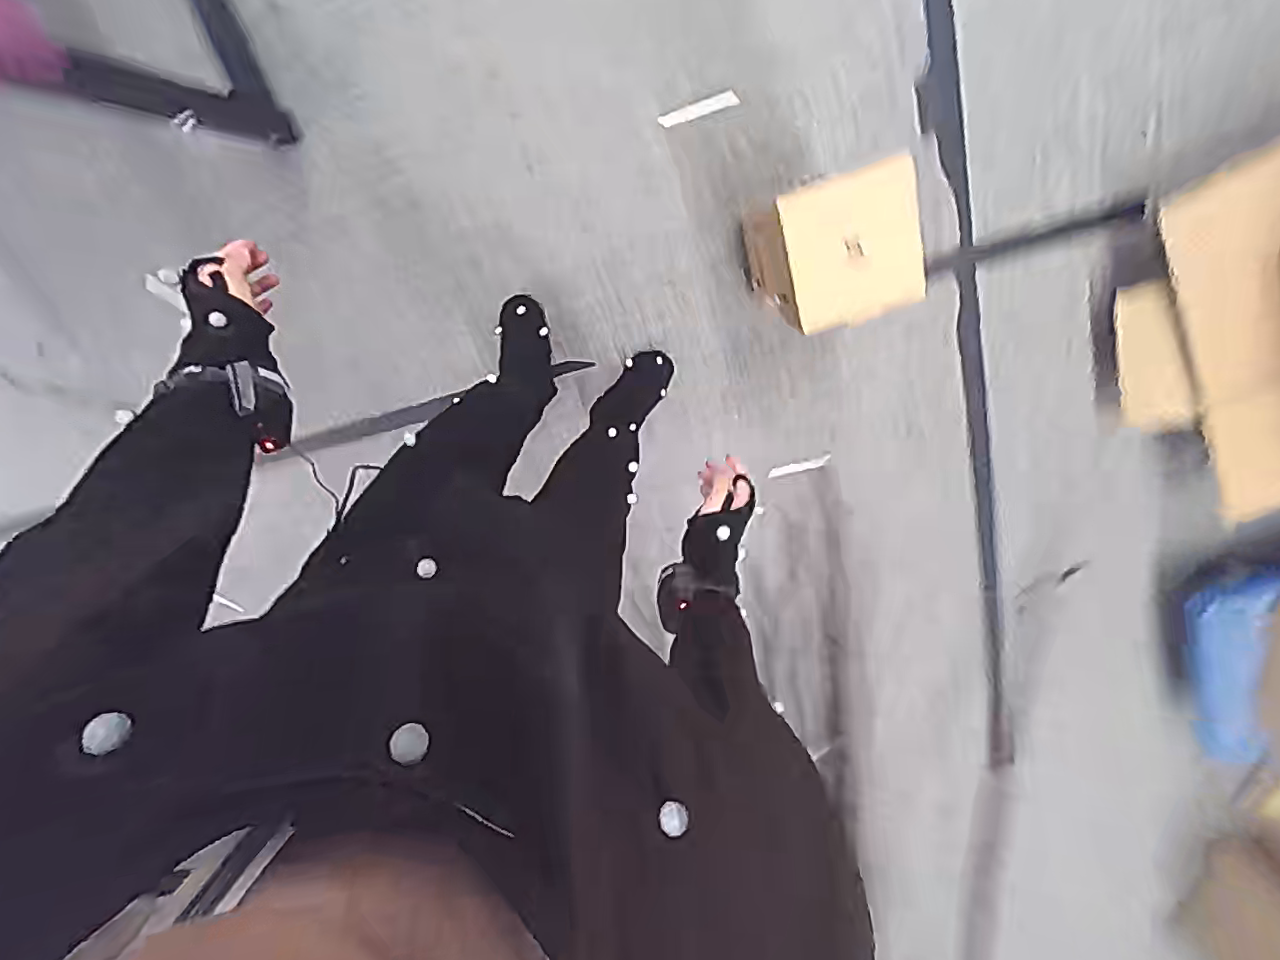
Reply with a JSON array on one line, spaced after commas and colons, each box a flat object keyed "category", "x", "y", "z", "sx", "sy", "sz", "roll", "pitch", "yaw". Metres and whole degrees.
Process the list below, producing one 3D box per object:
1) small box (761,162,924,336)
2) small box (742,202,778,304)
[{"category": "small box", "x": 0.281, "y": -0.326, "z": 0.771, "sx": 0.168, "sy": 0.176, "sz": 0.179, "roll": -15, "pitch": 113, "yaw": 8}, {"category": "small box", "x": 0.303, "y": -0.463, "z": 1.068, "sx": 0.168, "sy": 0.176, "sz": 0.179, "roll": -13, "pitch": 114, "yaw": 9}]
